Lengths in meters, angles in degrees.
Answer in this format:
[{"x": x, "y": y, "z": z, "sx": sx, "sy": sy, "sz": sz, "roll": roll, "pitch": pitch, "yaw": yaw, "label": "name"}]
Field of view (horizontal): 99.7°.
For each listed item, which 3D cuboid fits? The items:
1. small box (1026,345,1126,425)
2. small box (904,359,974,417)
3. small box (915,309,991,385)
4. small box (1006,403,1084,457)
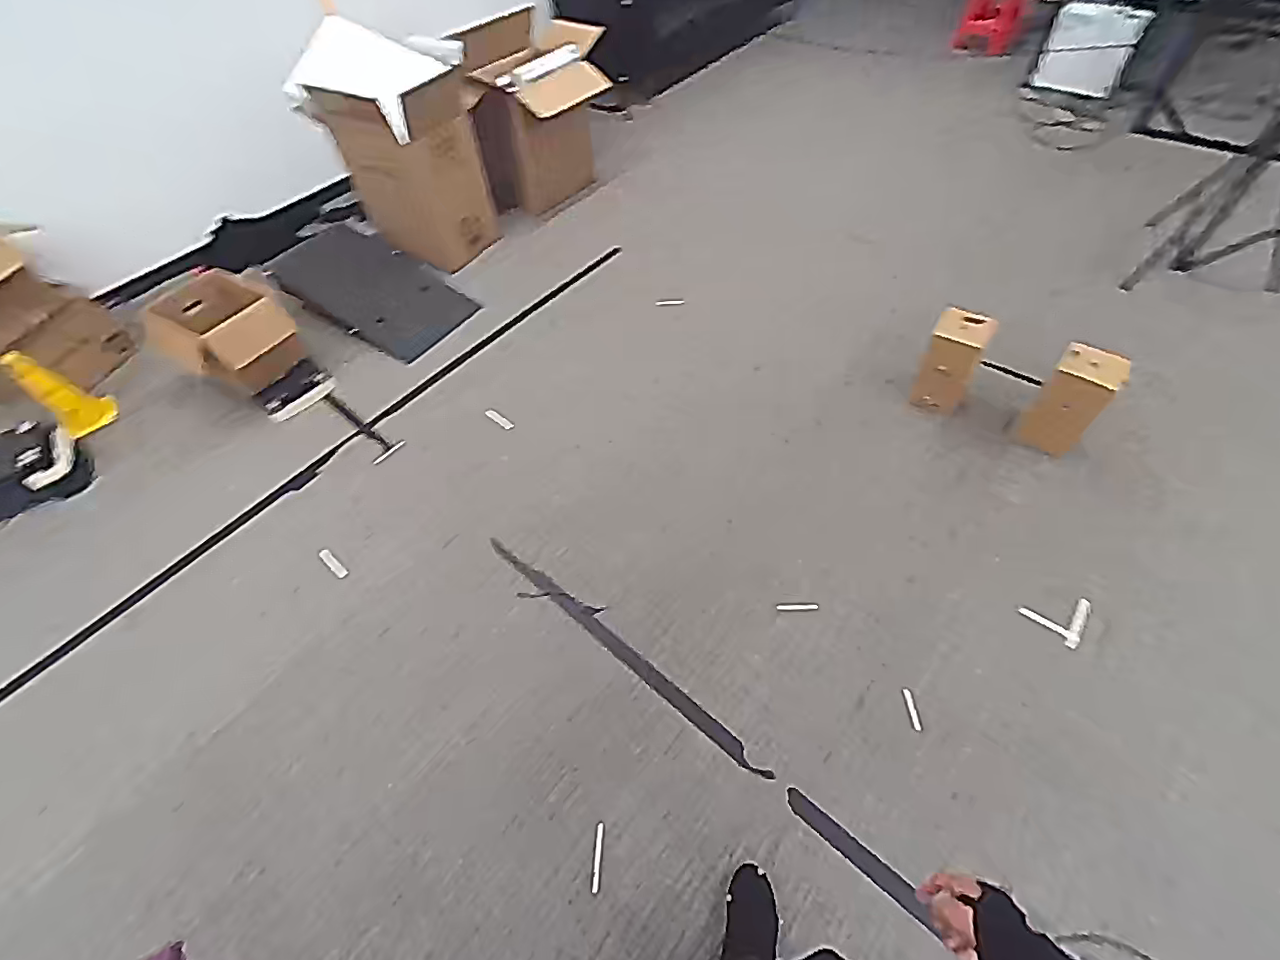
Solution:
[{"x": 1.436, "y": -0.308, "z": 1.789, "sx": 0.179, "sy": 0.176, "sz": 0.168, "roll": 35, "pitch": 63, "yaw": 25, "label": "small box"}, {"x": 1.140, "y": -0.378, "z": 2.072, "sx": 0.168, "sy": 0.176, "sz": 0.179, "roll": 26, "pitch": 60, "yaw": 23, "label": "small box"}, {"x": 1.118, "y": -0.475, "z": 1.941, "sx": 0.168, "sy": 0.176, "sz": 0.179, "roll": 28, "pitch": 61, "yaw": 24, "label": "small box"}, {"x": 1.447, "y": -0.211, "z": 1.921, "sx": 0.179, "sy": 0.176, "sz": 0.168, "roll": 34, "pitch": 64, "yaw": 25, "label": "small box"}]
